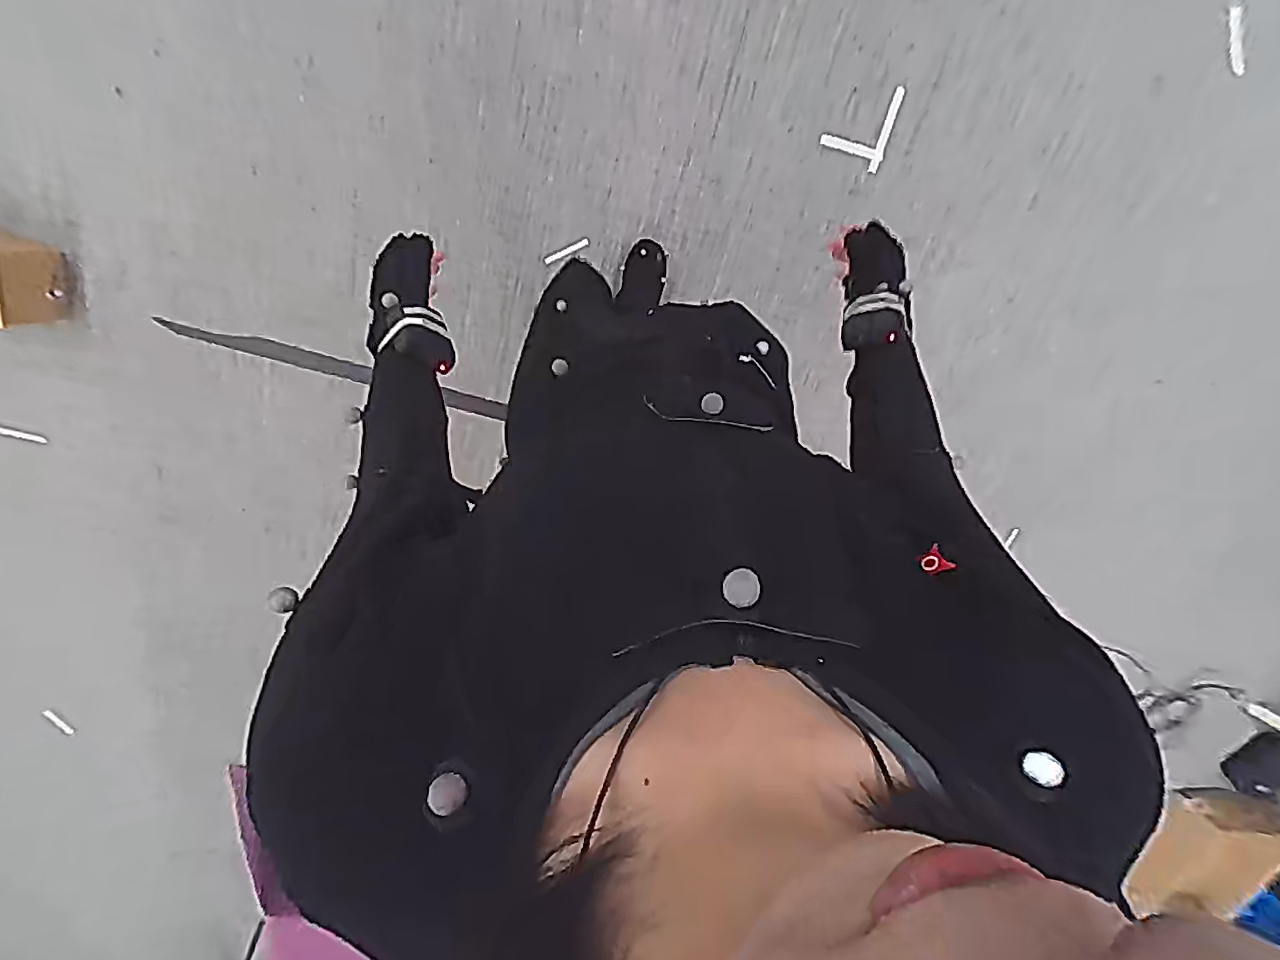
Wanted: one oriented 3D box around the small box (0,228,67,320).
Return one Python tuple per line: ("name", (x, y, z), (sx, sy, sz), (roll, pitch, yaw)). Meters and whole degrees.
("small box", (-1.461, -0.470, 1.210), (0.179, 0.176, 0.168), (14, 113, -10))
